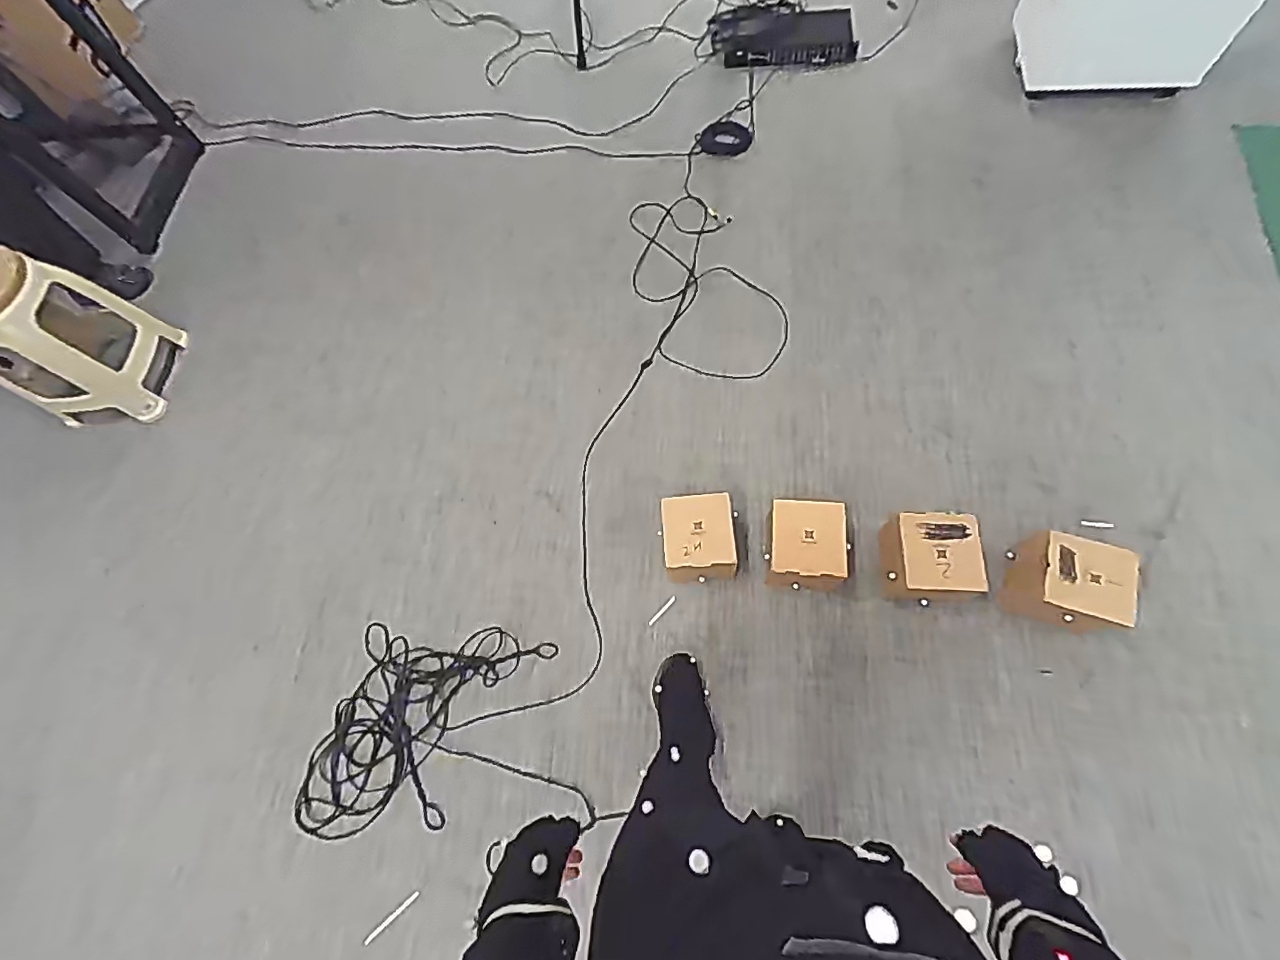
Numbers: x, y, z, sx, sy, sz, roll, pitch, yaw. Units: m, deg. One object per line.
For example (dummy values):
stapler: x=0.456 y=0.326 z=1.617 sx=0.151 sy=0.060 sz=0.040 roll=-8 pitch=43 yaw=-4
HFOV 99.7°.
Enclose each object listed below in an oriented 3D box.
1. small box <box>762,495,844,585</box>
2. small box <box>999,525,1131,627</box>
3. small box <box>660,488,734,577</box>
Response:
small box: x=0.390 y=0.149 z=1.315 sx=0.168 sy=0.176 sz=0.179 roll=3 pitch=70 yaw=8
small box: x=0.948 y=0.223 z=1.220 sx=0.179 sy=0.176 sz=0.168 roll=17 pitch=72 yaw=11
small box: x=0.140 y=0.135 z=1.346 sx=0.168 sy=0.176 sz=0.179 roll=-5 pitch=68 yaw=6
